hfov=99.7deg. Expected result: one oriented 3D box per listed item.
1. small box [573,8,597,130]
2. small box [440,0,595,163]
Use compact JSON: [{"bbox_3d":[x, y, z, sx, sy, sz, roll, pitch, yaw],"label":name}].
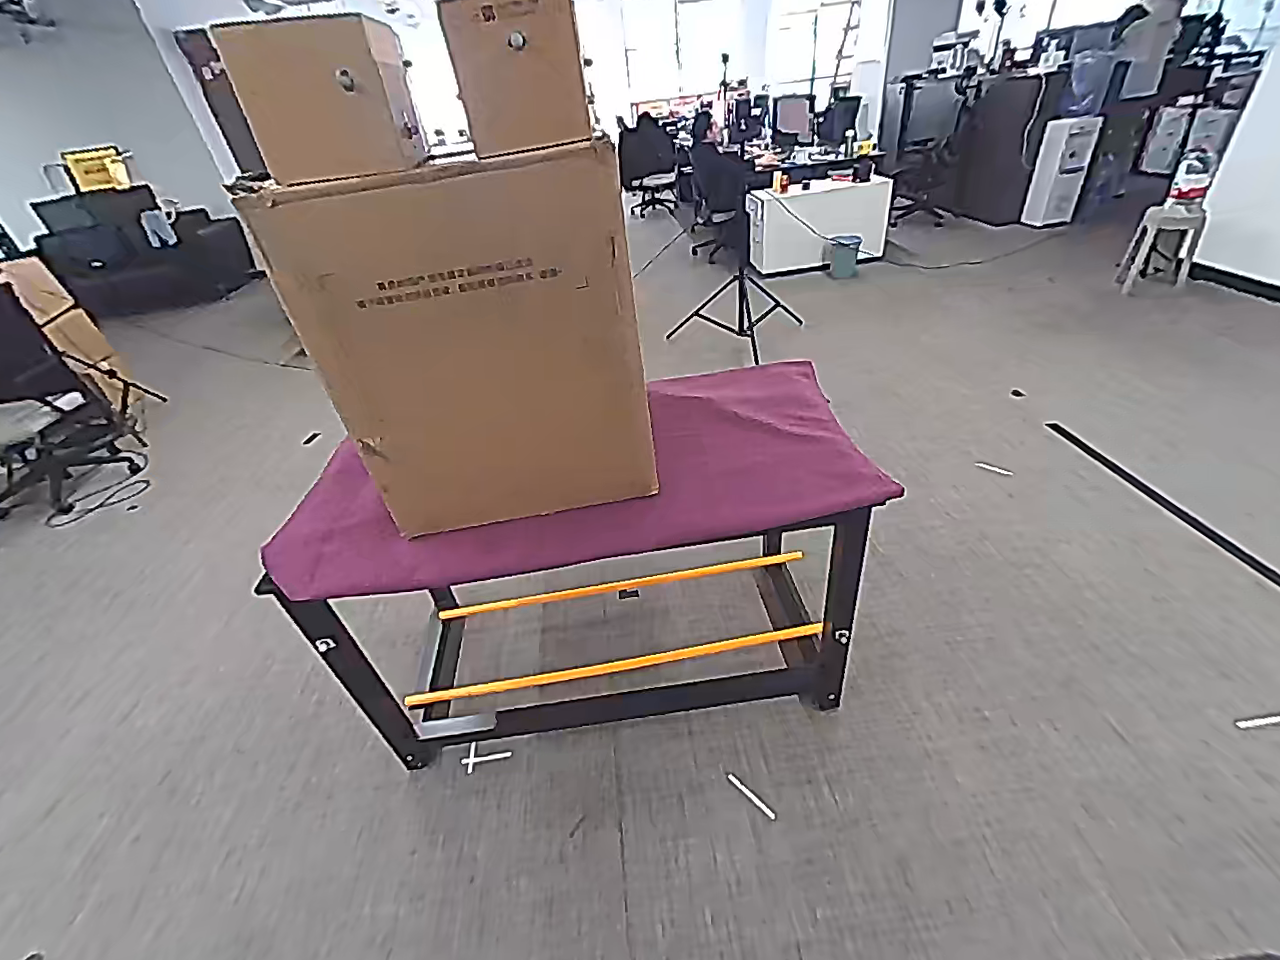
[{"bbox_3d":[-0.173,-0.688,0.936,0.179,0.176,0.168,-8,36,3],"label":"small box"},{"bbox_3d":[-0.164,-0.562,0.760,0.168,0.176,0.179,-12,36,-2],"label":"small box"}]
